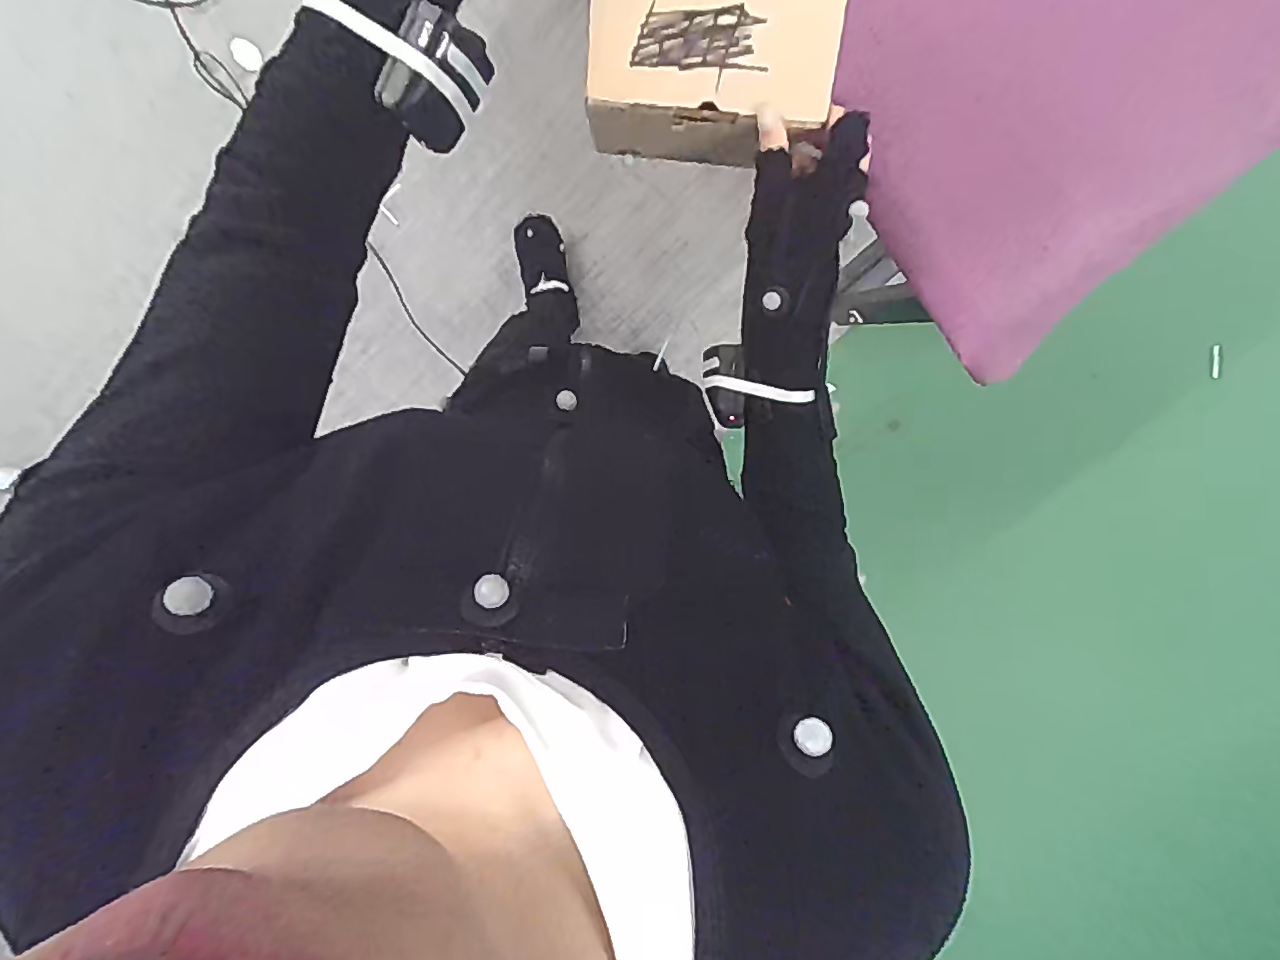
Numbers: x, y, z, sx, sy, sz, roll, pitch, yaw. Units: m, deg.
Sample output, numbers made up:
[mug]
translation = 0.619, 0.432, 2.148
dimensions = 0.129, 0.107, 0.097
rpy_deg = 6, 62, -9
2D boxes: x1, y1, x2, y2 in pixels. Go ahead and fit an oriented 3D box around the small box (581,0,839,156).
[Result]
[small box]
translation = 0.048, -0.364, 0.410
dimensions = 0.168, 0.176, 0.179
rpy_deg = 4, 110, -4
